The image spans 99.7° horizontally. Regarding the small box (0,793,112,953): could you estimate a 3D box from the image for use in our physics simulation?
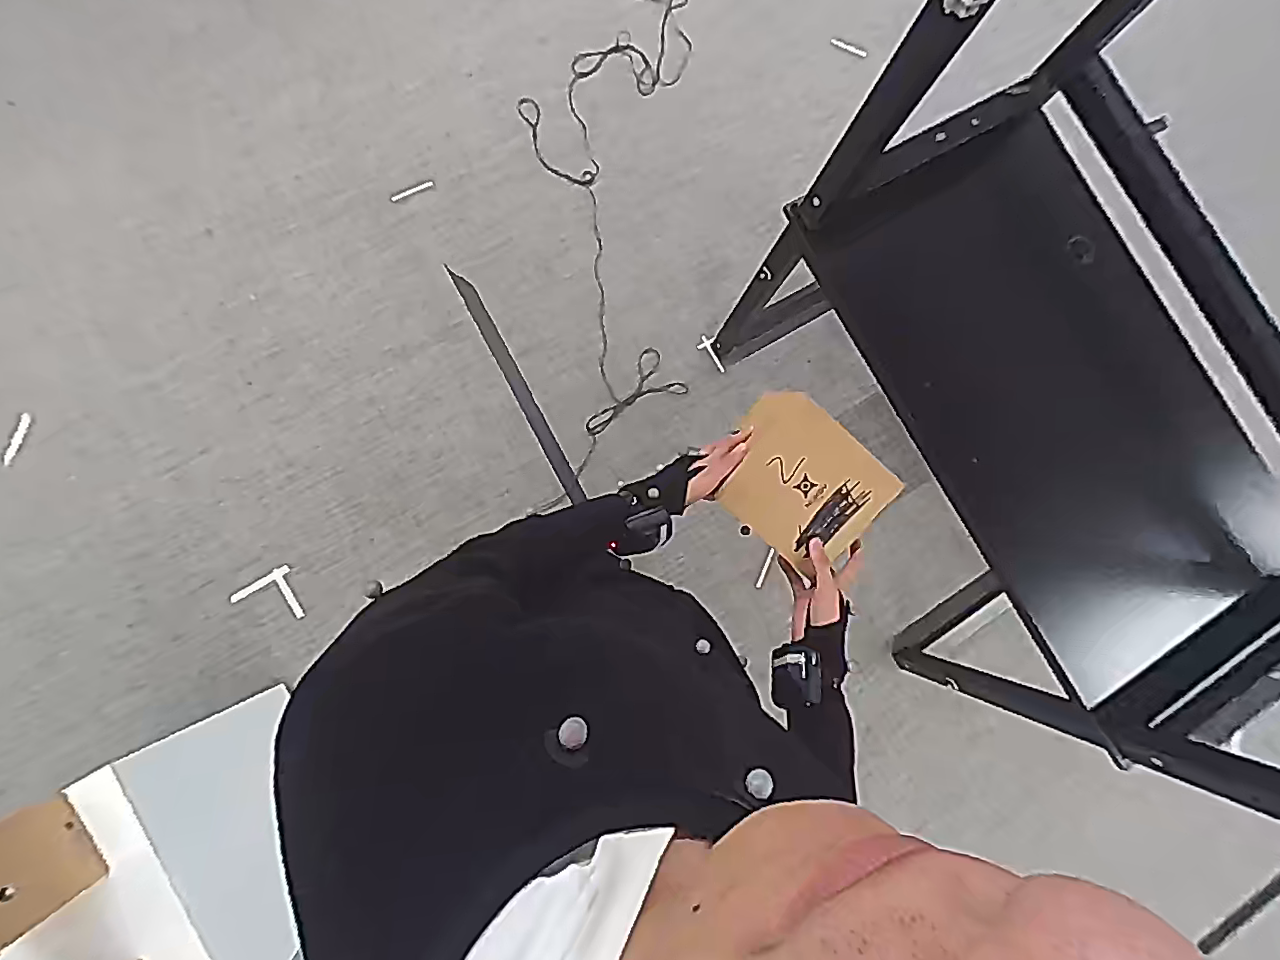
[{"bbox_3d":[-1.004,0.637,0.838,0.179,0.176,0.168,-32,89,-7],"label":"small box"}]
